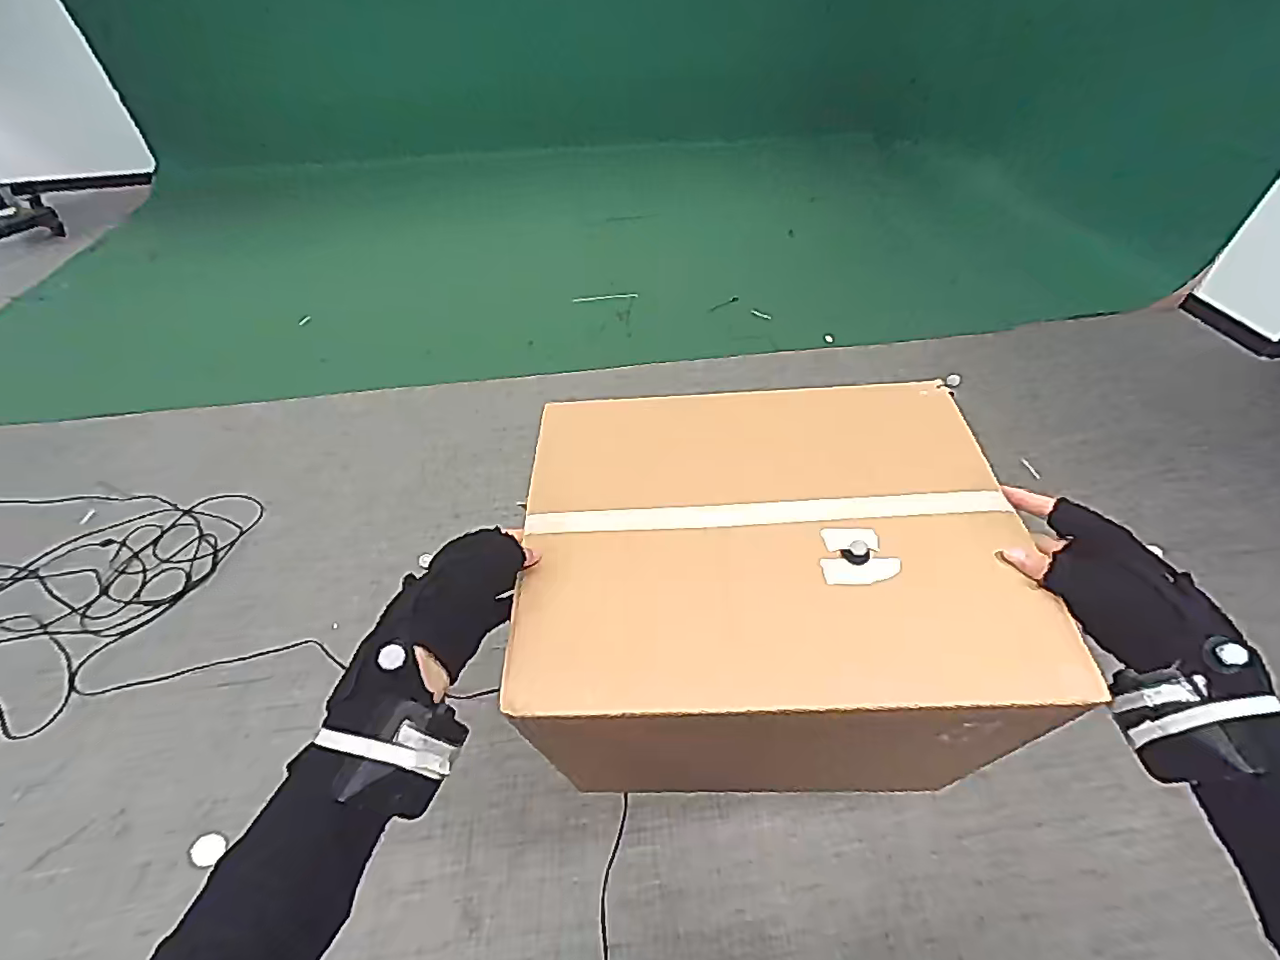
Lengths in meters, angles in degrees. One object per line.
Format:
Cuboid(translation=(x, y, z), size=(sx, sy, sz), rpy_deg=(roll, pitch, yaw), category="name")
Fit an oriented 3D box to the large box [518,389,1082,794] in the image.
Cuboid(translation=(0.116, 0.132, 0.586), size=(0.408, 0.320, 0.320), rpy_deg=(-4, 51, 4), category="large box")
